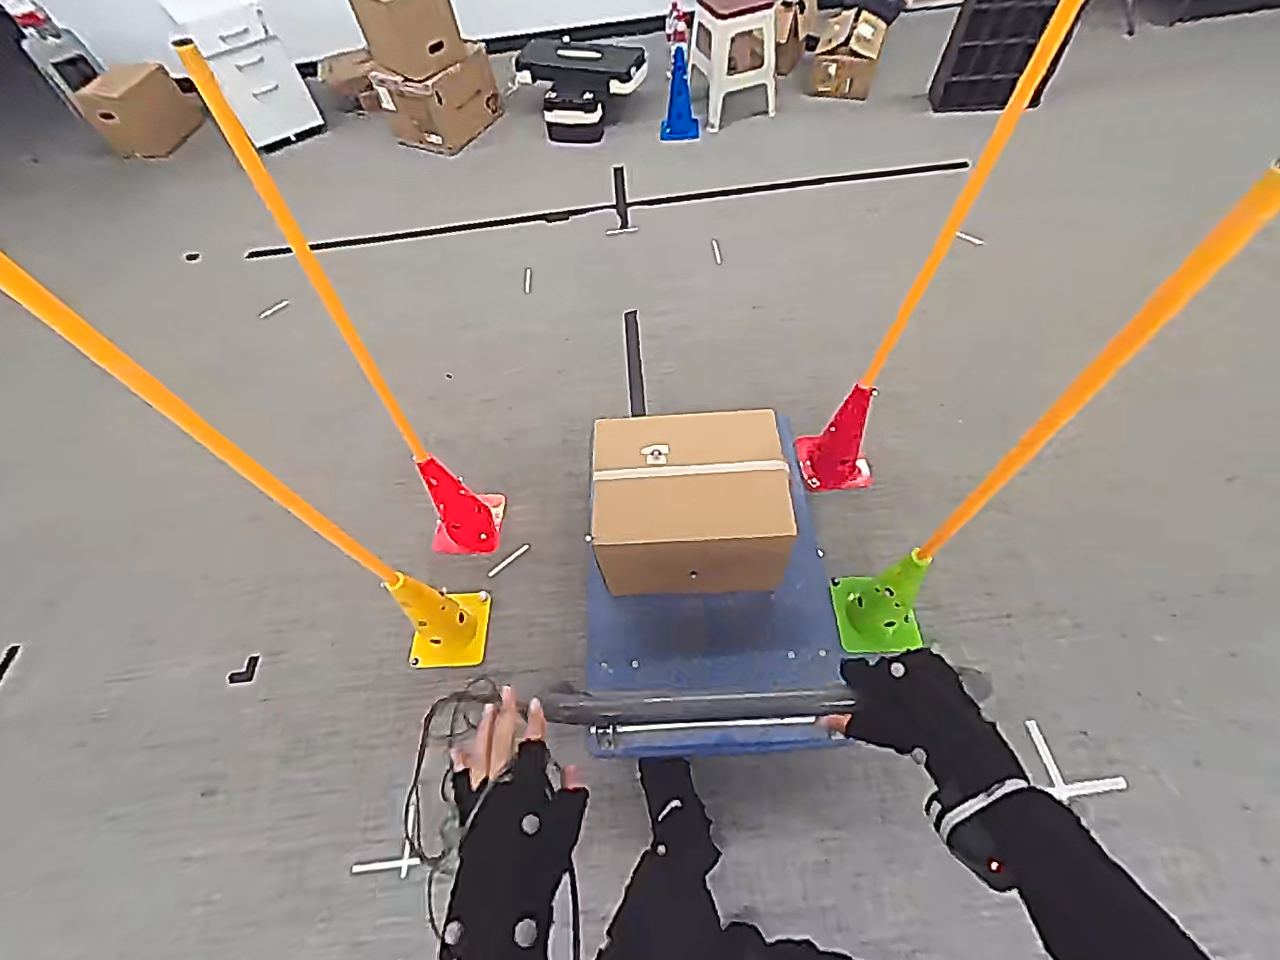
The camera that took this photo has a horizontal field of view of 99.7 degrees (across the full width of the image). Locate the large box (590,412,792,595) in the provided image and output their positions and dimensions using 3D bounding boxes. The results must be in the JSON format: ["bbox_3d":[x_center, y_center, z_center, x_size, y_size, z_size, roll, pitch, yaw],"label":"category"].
[{"bbox_3d":[0.108,0.068,1.266,0.408,0.320,0.320,-4,58,4],"label":"large box"}]

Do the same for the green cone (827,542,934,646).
[{"bbox_3d":[0.598,0.246,1.279,0.202,0.368,0.200,-2,58,2],"label":"green cone"}]

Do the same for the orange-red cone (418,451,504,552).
[{"bbox_3d":[-0.537,0.033,1.516,0.198,0.360,0.199,1,57,4],"label":"orange-red cone"}]

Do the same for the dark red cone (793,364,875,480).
[{"bbox_3d":[0.578,-0.173,1.523,0.201,0.394,0.202,-5,58,0],"label":"dark red cone"}]
